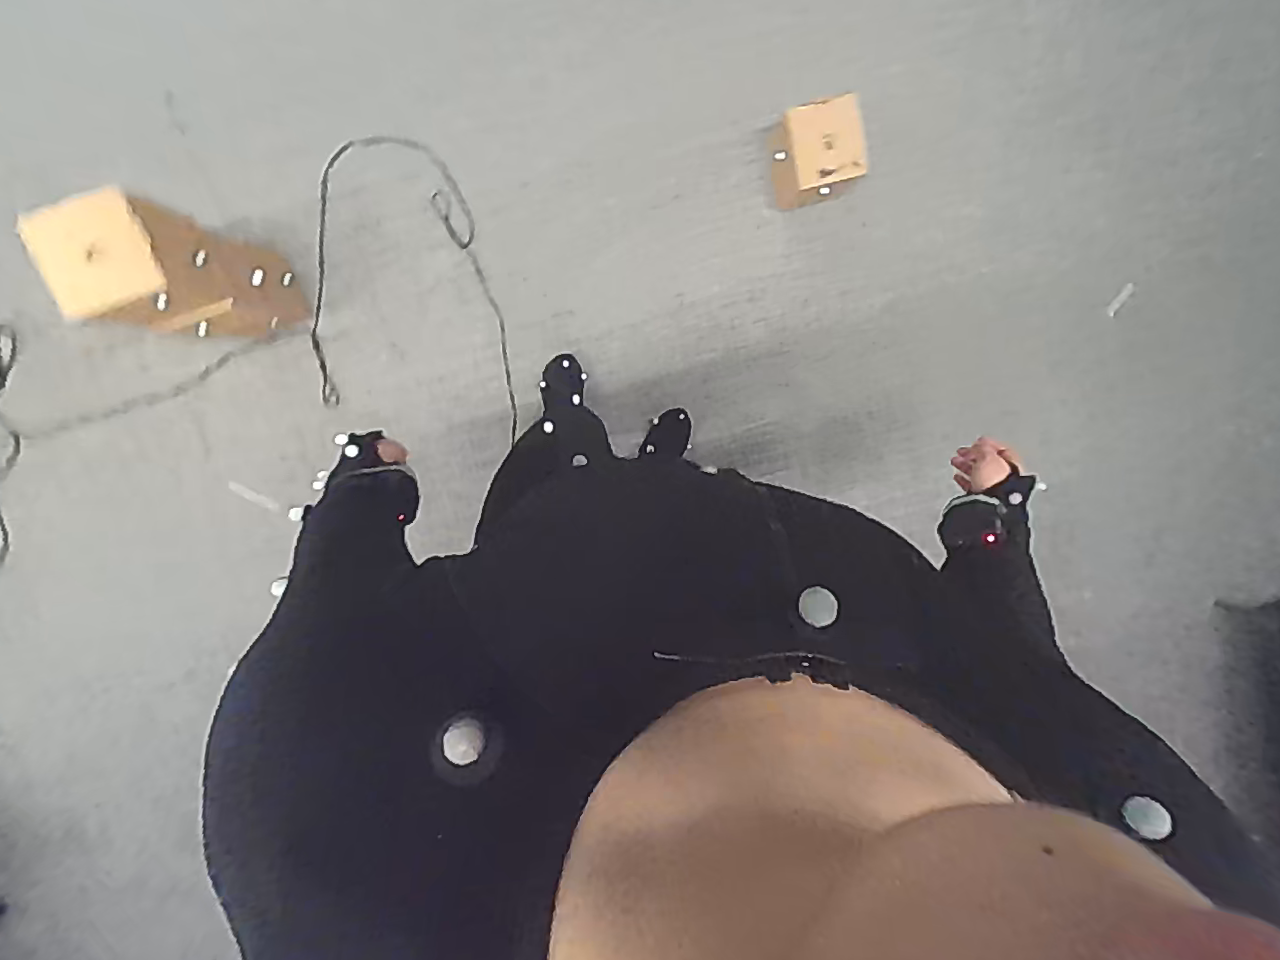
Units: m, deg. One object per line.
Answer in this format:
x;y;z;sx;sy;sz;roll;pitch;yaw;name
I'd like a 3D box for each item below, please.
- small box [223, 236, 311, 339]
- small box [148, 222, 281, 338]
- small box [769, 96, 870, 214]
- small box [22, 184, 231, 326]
-0.920;-0.445;1.278;0.179;0.176;0.168;-22;99;1;small box
-0.902;-0.403;1.120;0.179;0.176;0.168;-19;100;-1;small box
0.424;-0.772;1.299;0.168;0.176;0.179;-14;99;-1;small box
-0.891;-0.384;0.959;0.179;0.176;0.168;-20;100;-1;small box
